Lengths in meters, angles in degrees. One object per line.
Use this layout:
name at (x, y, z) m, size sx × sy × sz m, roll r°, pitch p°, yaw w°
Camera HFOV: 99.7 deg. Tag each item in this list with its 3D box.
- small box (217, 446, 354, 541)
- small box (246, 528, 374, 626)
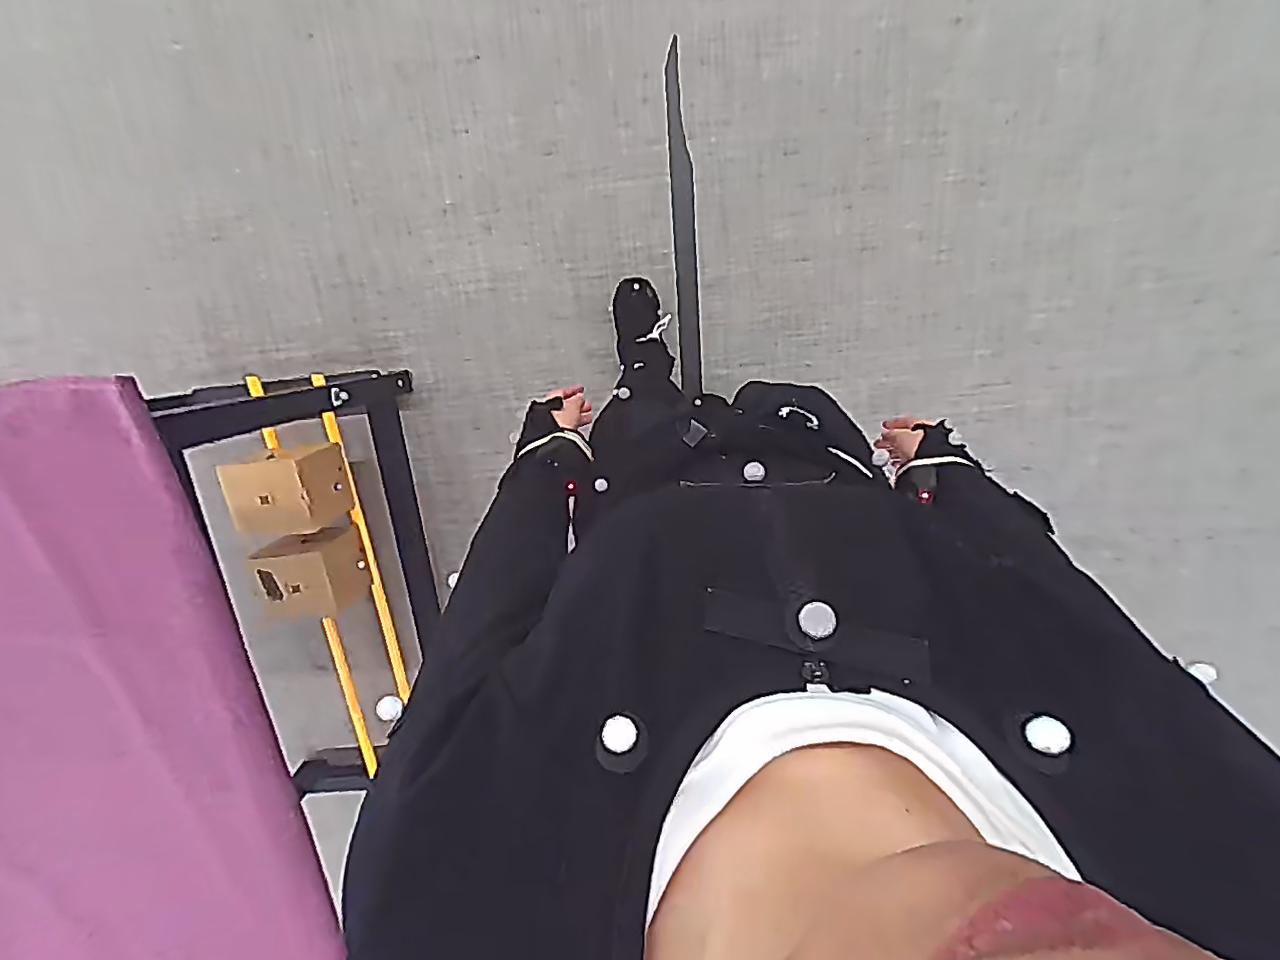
small box at (-0.786, 0.025, 1.217) m, size 0.179 × 0.176 × 0.168 m, roll -6°, pitch 107°, yaw 3°
small box at (-0.767, 0.223, 1.275) m, size 0.179 × 0.176 × 0.168 m, roll -6°, pitch 106°, yaw 2°
